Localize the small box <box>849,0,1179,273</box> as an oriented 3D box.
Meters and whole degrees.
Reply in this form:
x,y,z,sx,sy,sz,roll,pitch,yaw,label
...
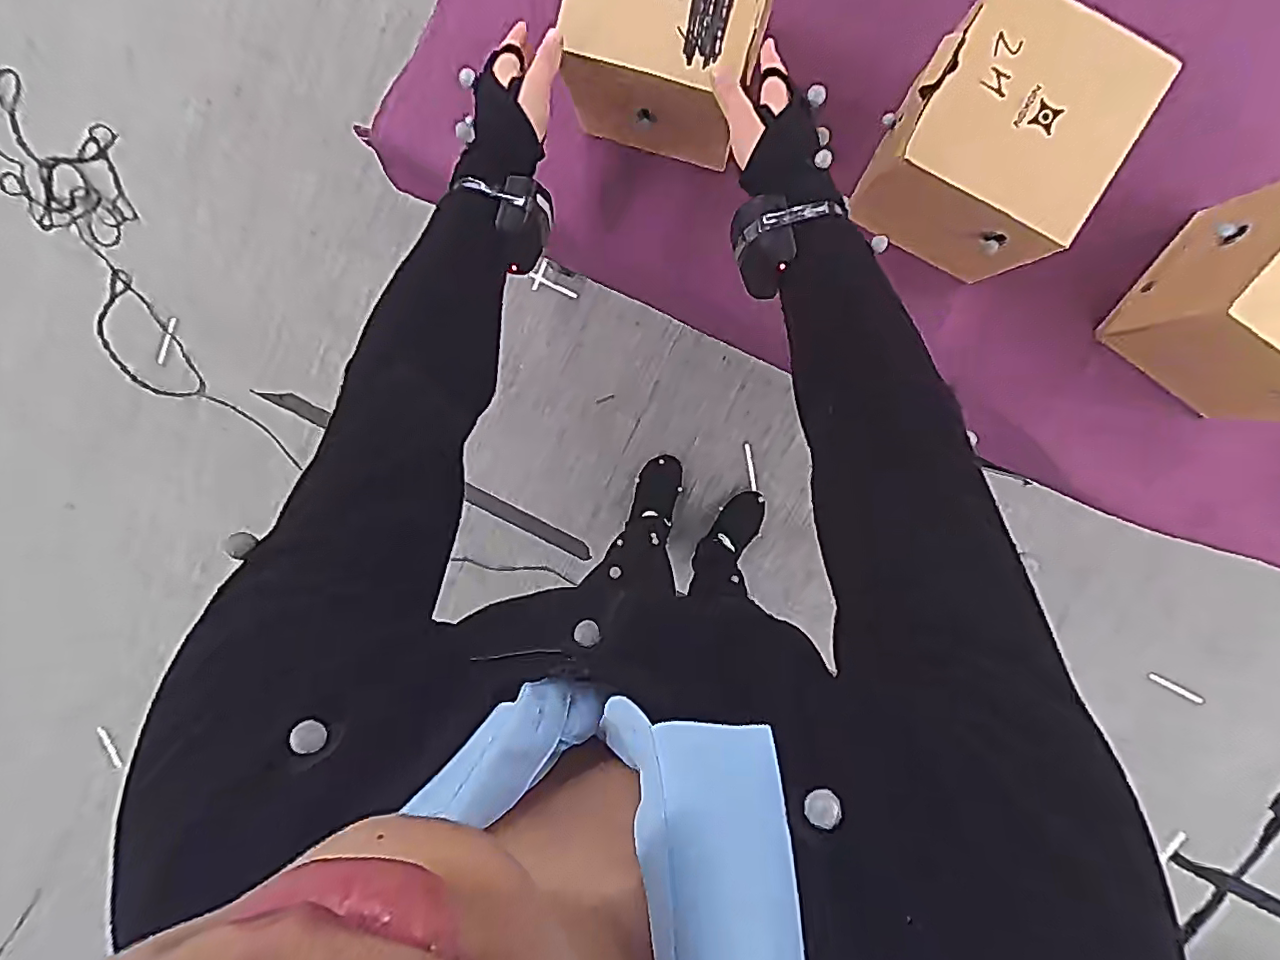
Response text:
x,y,z,sx,sy,sz,roll,pitch,yaw,label
0.348,-0.329,0.545,0.179,0.176,0.168,28,99,0,small box

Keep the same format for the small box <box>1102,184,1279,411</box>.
x,y,z,sx,sy,sz,roll,pitch,yaw,label
0.642,-0.178,0.546,0.179,0.176,0.168,35,100,-2,small box
